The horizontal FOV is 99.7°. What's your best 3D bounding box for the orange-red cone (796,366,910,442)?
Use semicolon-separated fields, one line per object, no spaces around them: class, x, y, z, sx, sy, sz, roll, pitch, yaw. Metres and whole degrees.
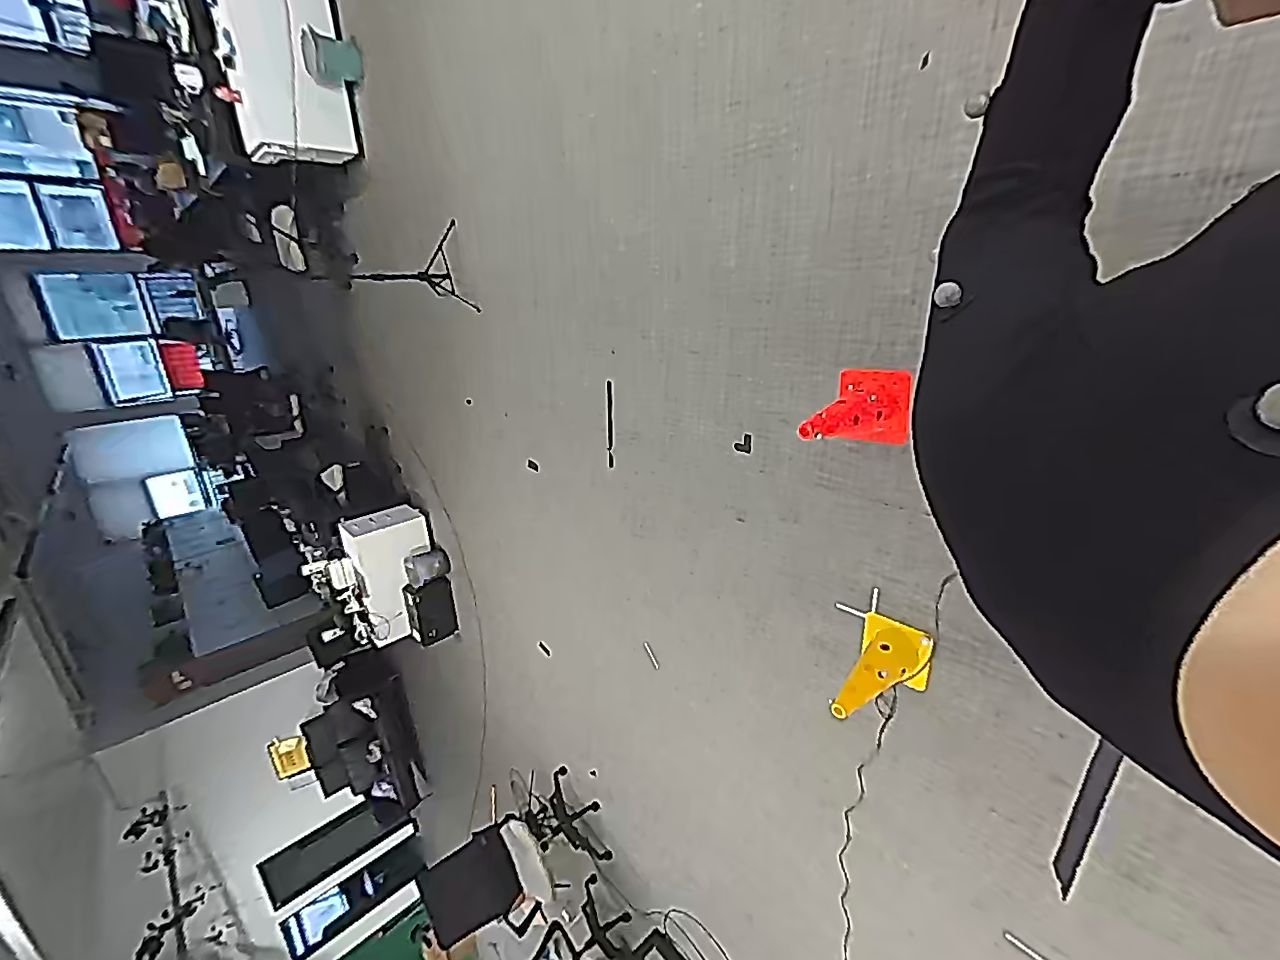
orange-red cone;0.519;-0.165;1.395;0.198;0.360;0.199;17;119;46
